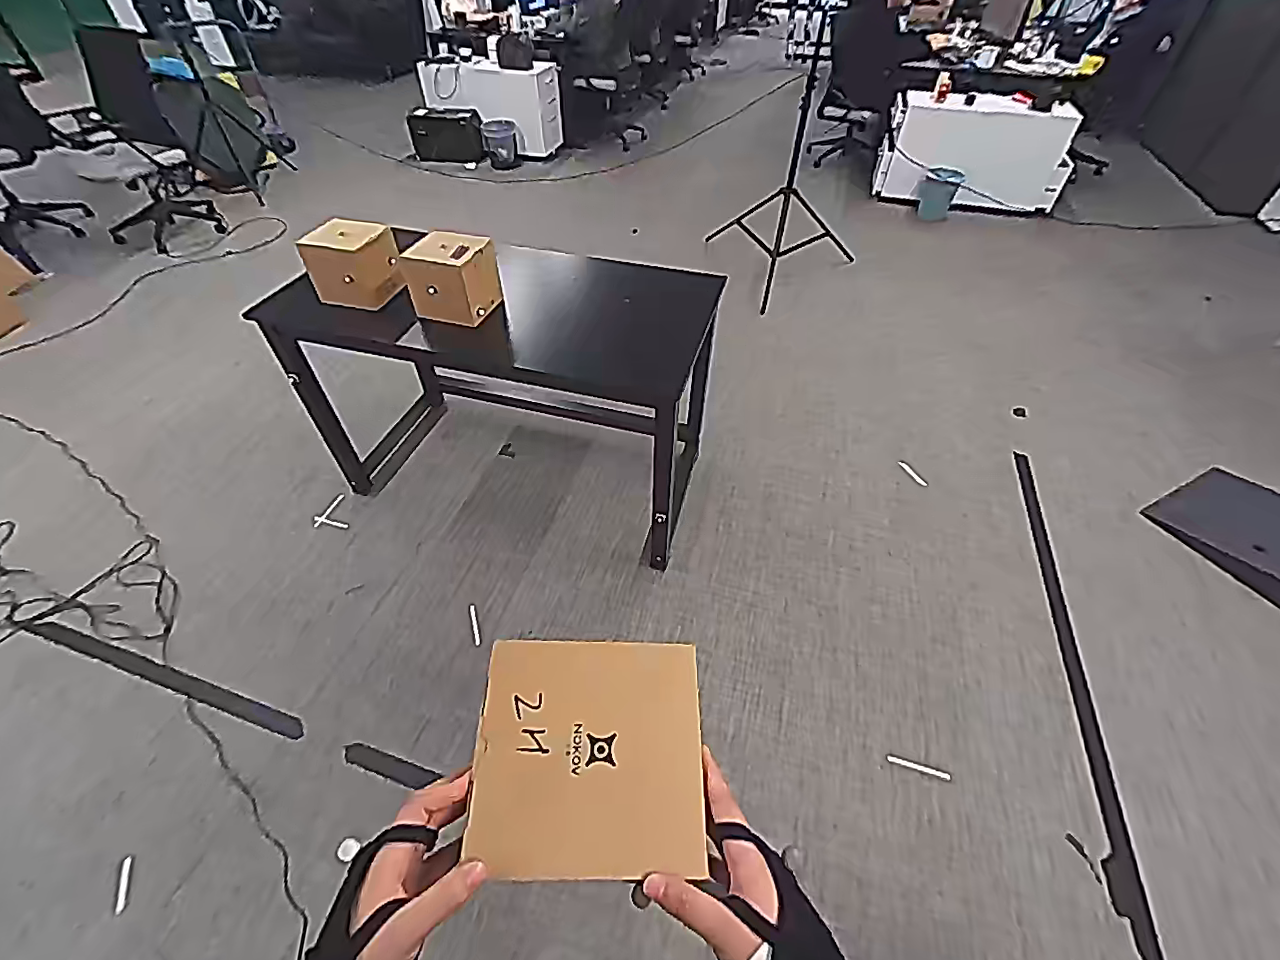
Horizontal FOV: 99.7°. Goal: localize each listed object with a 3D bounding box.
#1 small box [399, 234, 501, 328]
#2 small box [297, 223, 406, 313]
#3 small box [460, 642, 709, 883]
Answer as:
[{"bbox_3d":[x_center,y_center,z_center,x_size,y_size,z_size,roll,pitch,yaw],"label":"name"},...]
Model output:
[{"bbox_3d":[-0.487,-0.520,1.423,0.179,0.176,0.168,12,48,12],"label":"small box"},{"bbox_3d":[-0.773,-0.575,1.474,0.179,0.176,0.168,10,47,10],"label":"small box"},{"bbox_3d":[-0.042,0.253,0.485,0.179,0.176,0.168,2,56,-3],"label":"small box"}]
